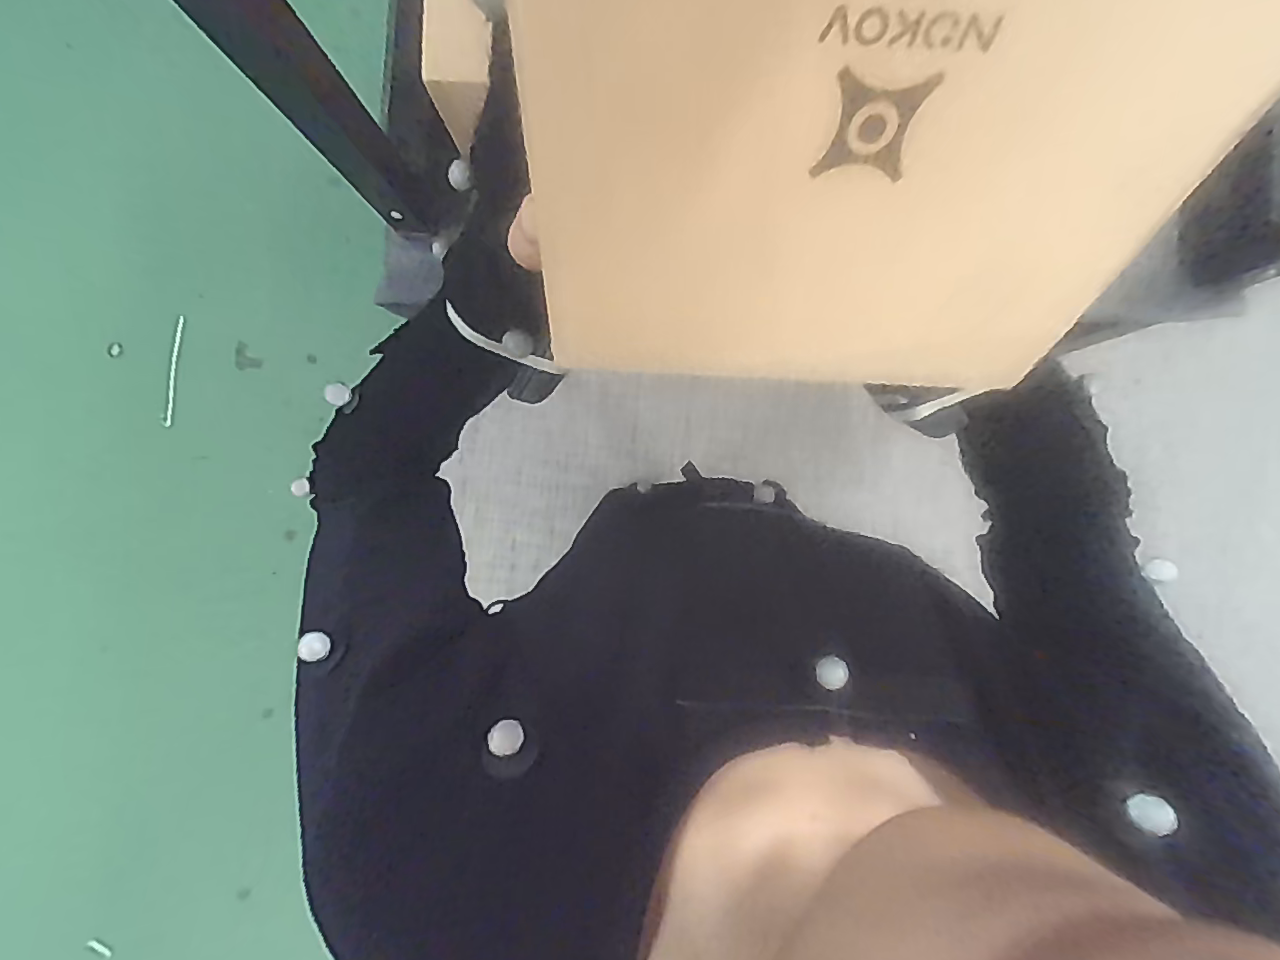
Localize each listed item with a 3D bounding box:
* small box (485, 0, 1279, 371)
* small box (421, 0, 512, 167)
[{"bbox_3d":[0.053,-0.158,0.163,0.168,0.179,0.176,3,56,0],"label":"small box"},{"bbox_3d":[-0.163,-0.534,0.694,0.168,0.176,0.179,2,89,1],"label":"small box"}]
